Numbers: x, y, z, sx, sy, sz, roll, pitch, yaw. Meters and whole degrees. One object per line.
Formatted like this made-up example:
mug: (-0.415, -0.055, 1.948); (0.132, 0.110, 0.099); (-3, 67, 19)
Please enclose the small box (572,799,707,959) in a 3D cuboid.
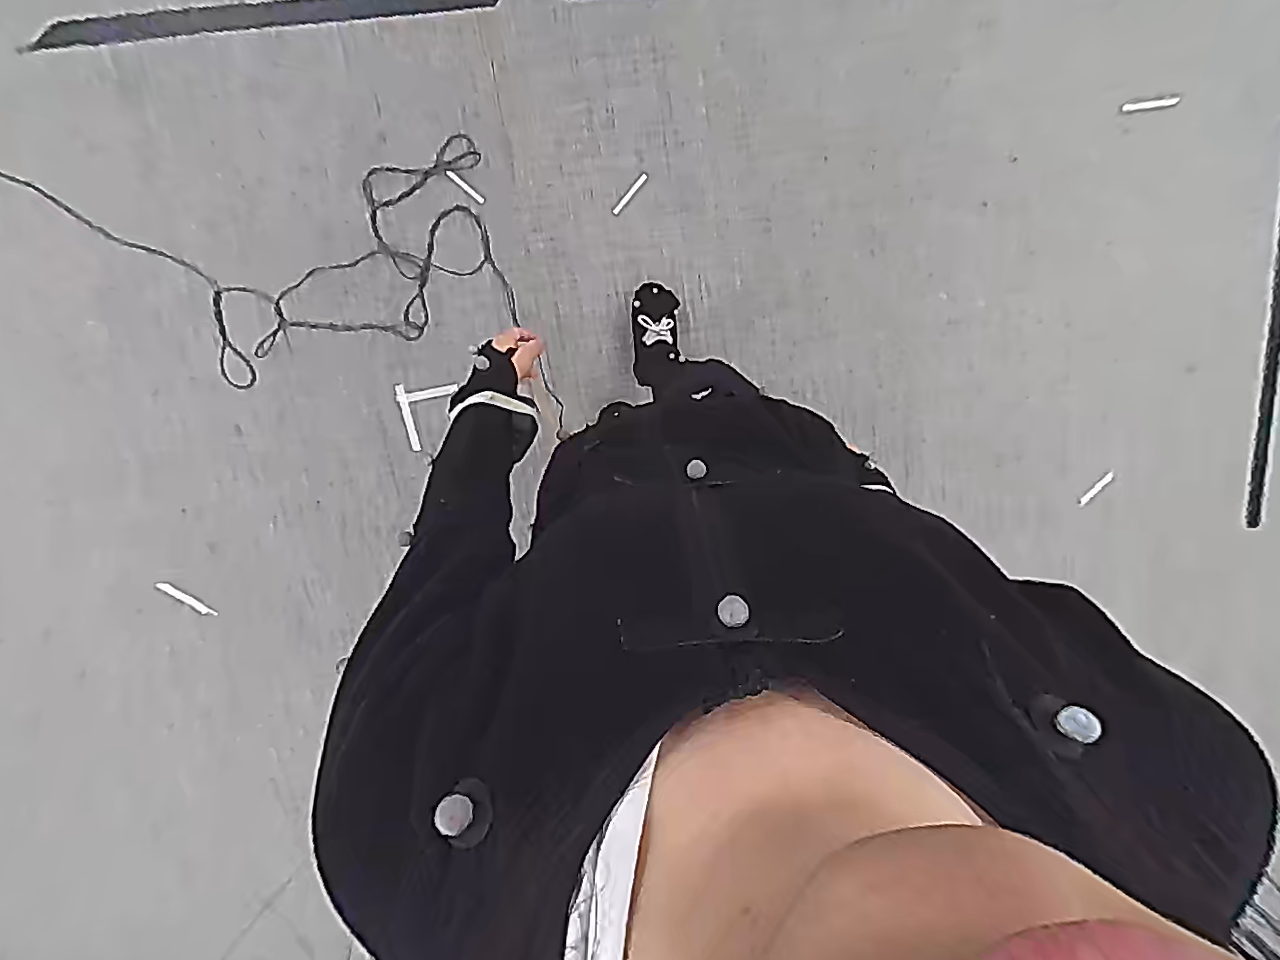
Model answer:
small box: (-0.001, 0.597, 0.767); (0.168, 0.176, 0.179); (-7, 103, -3)
